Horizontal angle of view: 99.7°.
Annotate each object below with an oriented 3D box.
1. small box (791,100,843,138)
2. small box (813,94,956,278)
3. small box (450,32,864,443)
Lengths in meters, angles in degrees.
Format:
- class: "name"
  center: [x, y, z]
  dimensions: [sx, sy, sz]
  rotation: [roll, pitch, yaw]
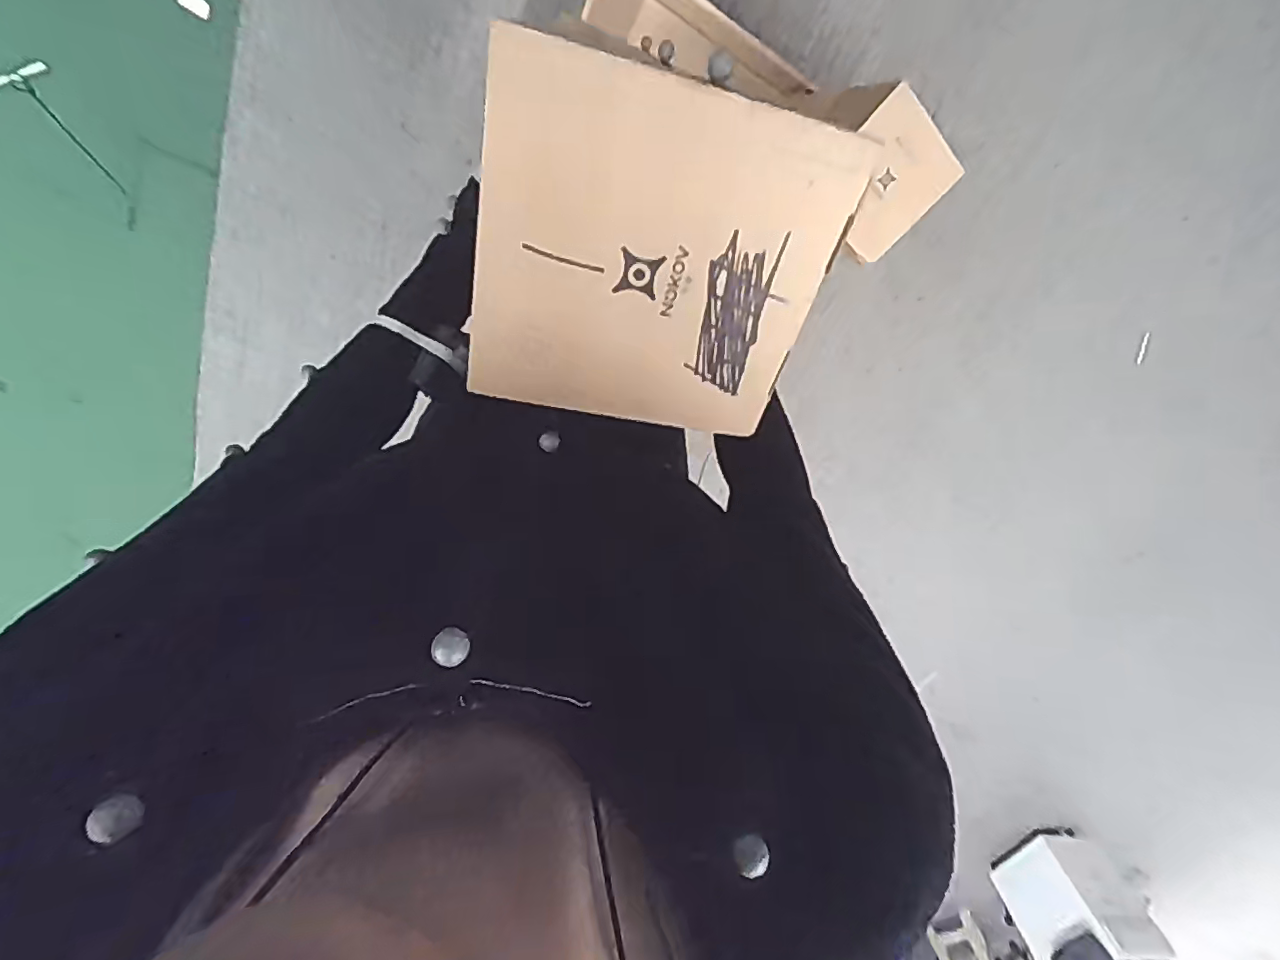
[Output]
- class: "small box"
  center: [0.317, -0.540, 0.976]
  dimensions: [0.179, 0.176, 0.168]
  rotation: [34, 114, -23]
- class: "small box"
  center: [0.333, -0.453, 0.839]
  dimensions: [0.168, 0.176, 0.179]
  rotation: [35, 113, -25]
- class: "small box"
  center: [-0.008, -0.147, 0.331]
  dimensions: [0.179, 0.176, 0.168]
  rotation: [9, 128, -13]
